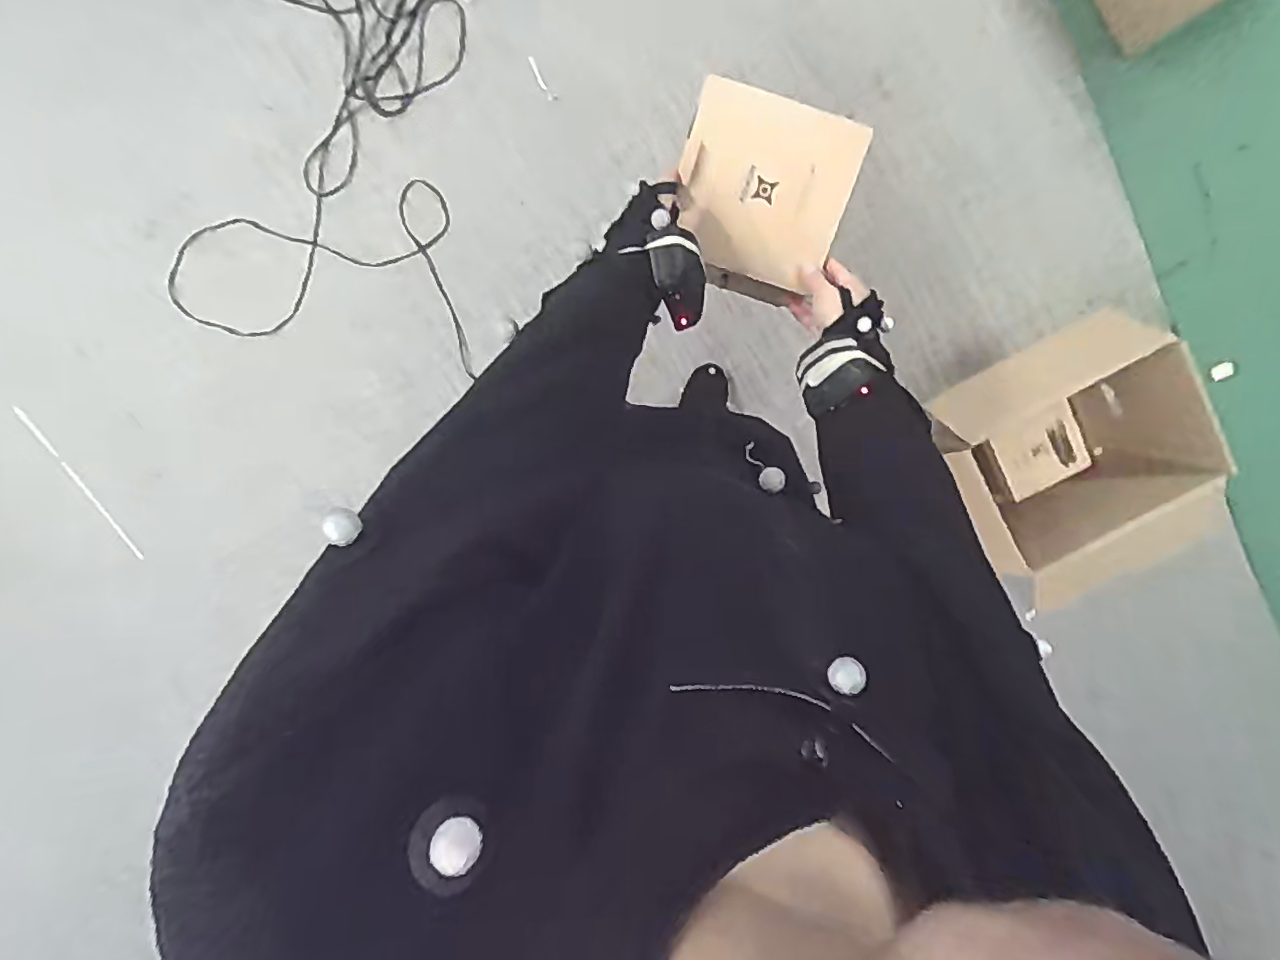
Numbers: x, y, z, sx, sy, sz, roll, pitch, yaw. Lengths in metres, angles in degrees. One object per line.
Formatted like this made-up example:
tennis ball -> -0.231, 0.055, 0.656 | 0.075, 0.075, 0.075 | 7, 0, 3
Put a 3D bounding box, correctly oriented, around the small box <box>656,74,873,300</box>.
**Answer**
small box -> 0.126, -0.313, 0.620 | 0.179, 0.176, 0.168 | 17, 106, -1
